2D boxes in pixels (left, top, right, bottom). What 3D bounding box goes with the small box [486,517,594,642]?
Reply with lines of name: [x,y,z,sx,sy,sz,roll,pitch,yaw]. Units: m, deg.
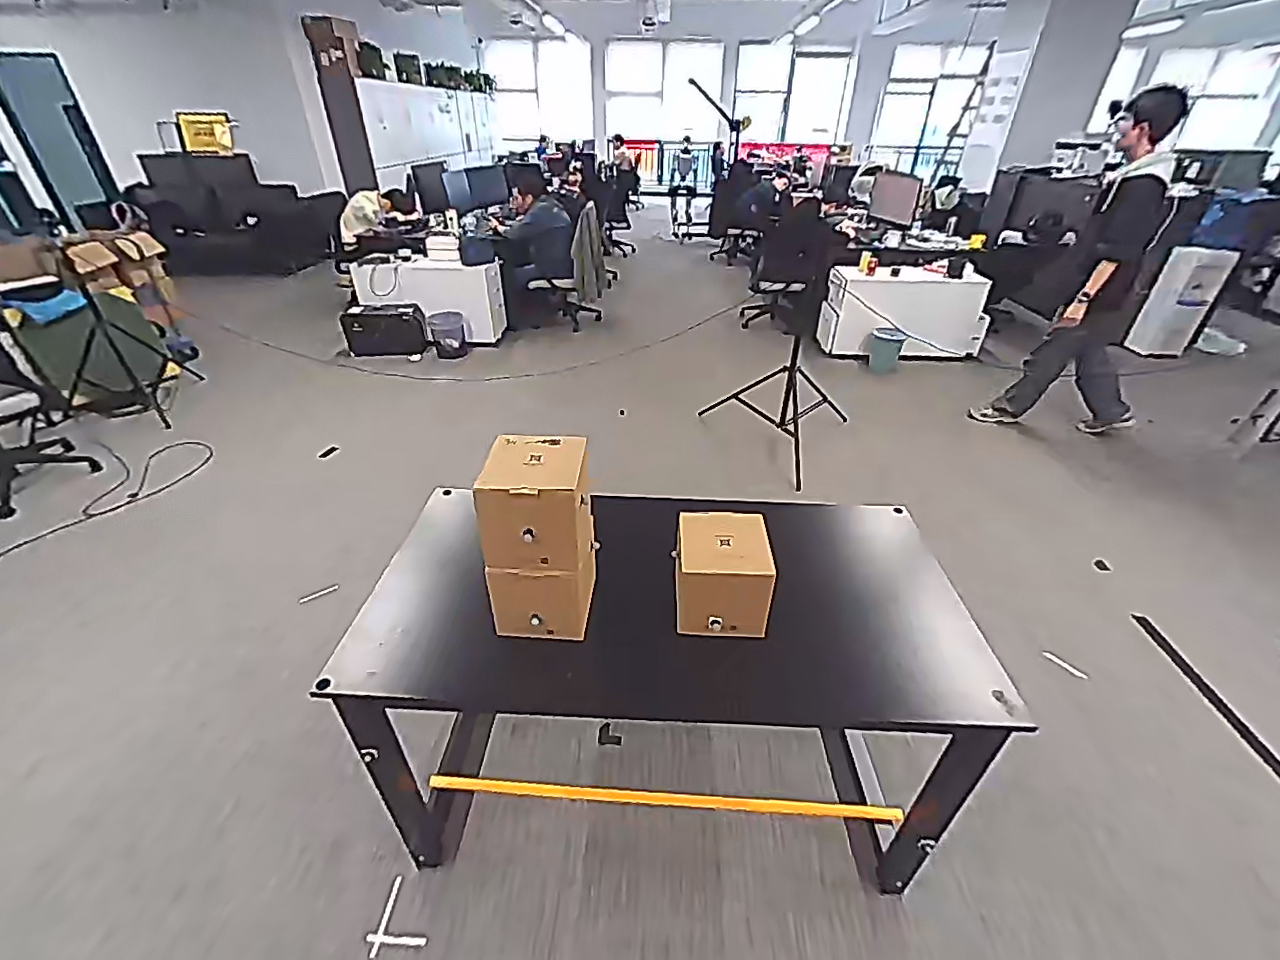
small box: [-0.181,0.183,1.041,0.168,0.176,0.179,3,34,3]

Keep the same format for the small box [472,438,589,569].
small box: [-0.181,0.042,0.958,0.168,0.176,0.179,1,34,0]

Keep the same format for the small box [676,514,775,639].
small box: [0.156,0.184,1.052,0.168,0.176,0.179,0,34,1]
